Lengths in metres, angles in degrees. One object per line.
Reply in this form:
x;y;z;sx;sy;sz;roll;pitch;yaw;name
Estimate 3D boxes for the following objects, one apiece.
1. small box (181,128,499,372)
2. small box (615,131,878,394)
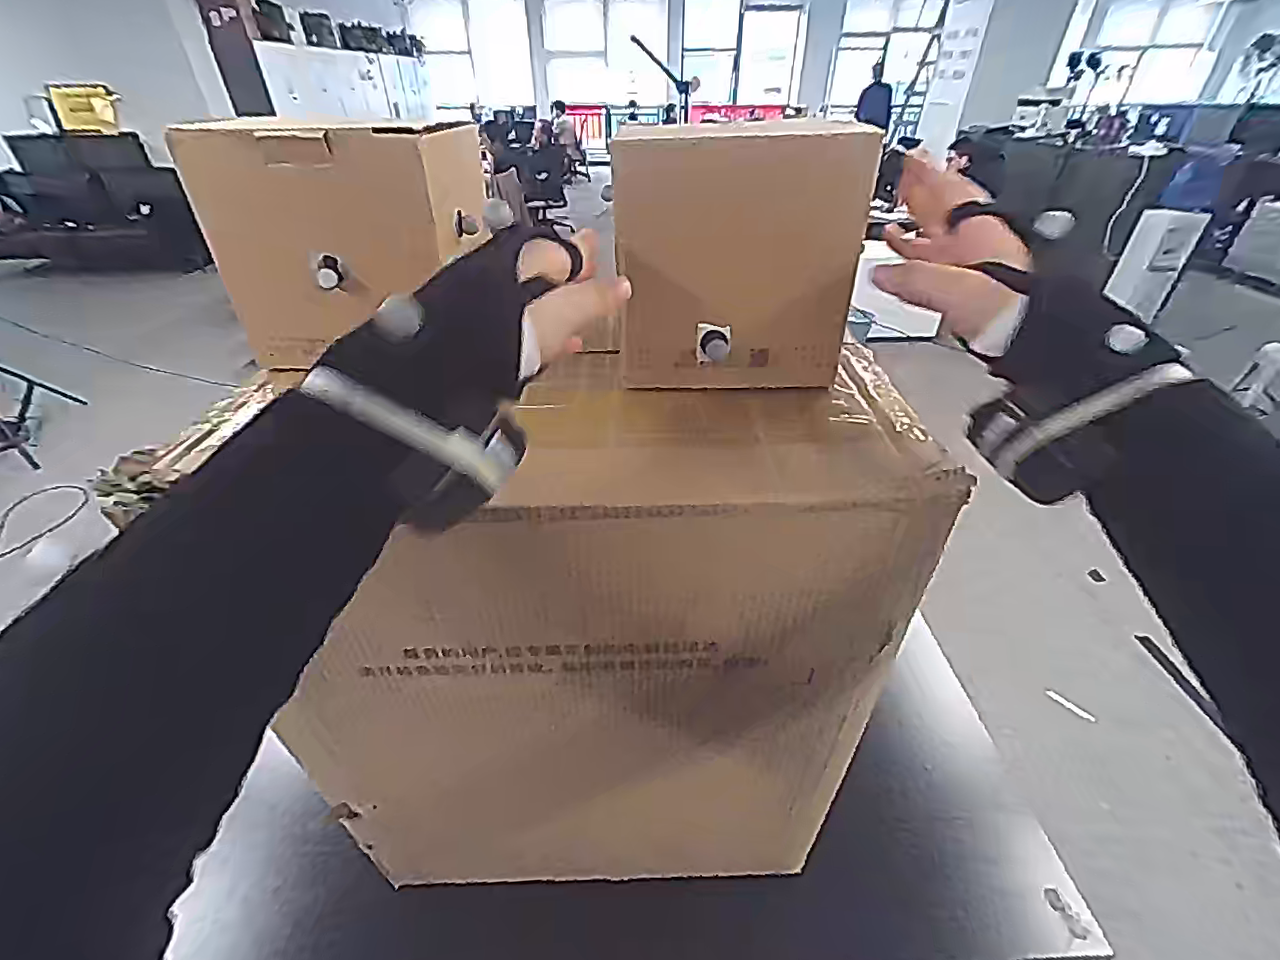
-0.227;-0.203;0.474;0.168;0.176;0.179;0;35;-2;small box
0.068;-0.183;0.447;0.168;0.176;0.179;-2;36;1;small box
